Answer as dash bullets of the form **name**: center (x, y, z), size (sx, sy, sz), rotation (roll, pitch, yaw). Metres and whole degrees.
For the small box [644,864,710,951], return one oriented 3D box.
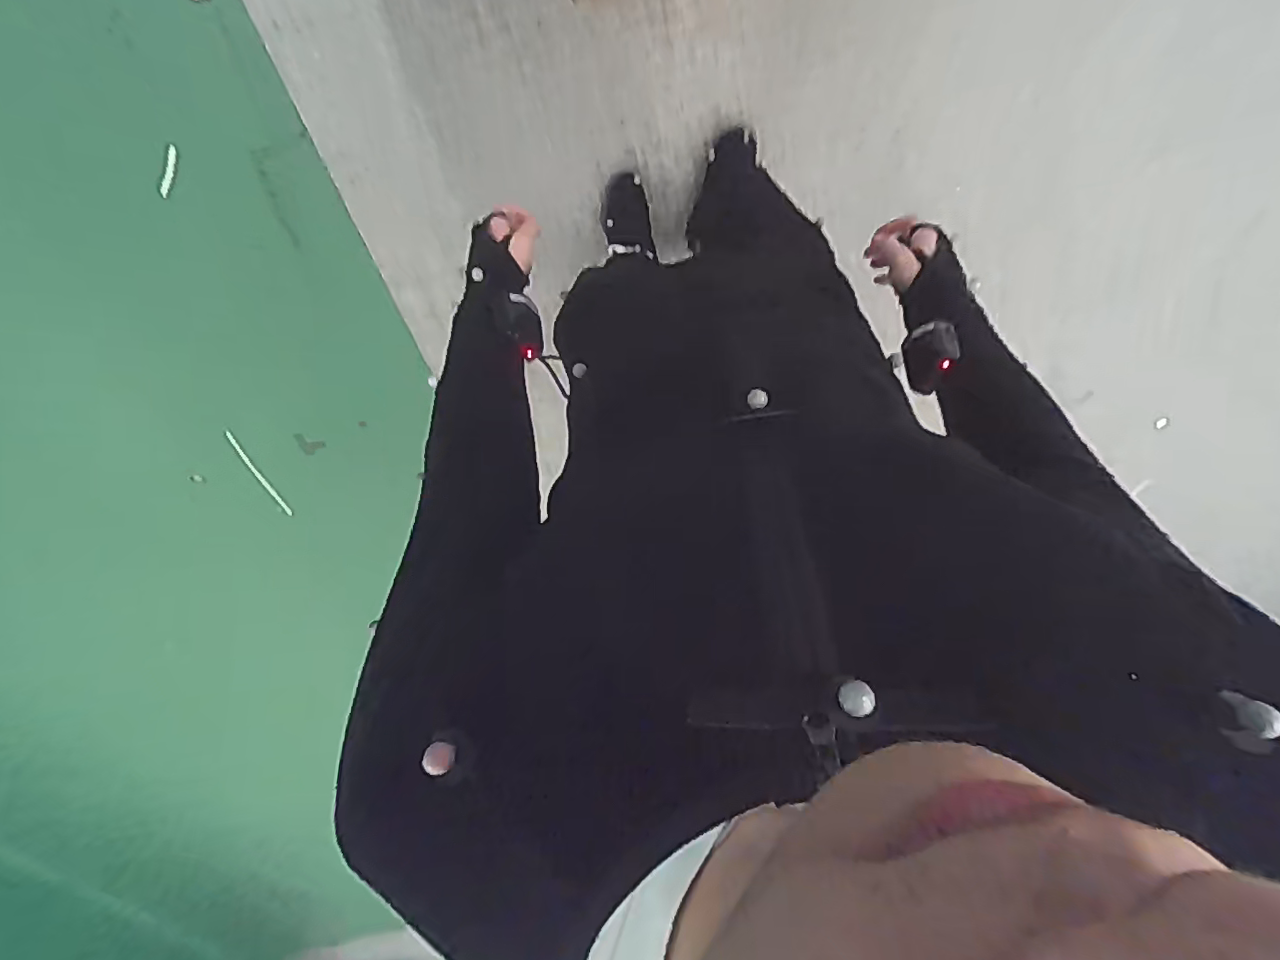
- **small box**: center (0.115, 1.362, 1.732), size (0.168, 0.176, 0.179), rotation (-15, 122, 5)
